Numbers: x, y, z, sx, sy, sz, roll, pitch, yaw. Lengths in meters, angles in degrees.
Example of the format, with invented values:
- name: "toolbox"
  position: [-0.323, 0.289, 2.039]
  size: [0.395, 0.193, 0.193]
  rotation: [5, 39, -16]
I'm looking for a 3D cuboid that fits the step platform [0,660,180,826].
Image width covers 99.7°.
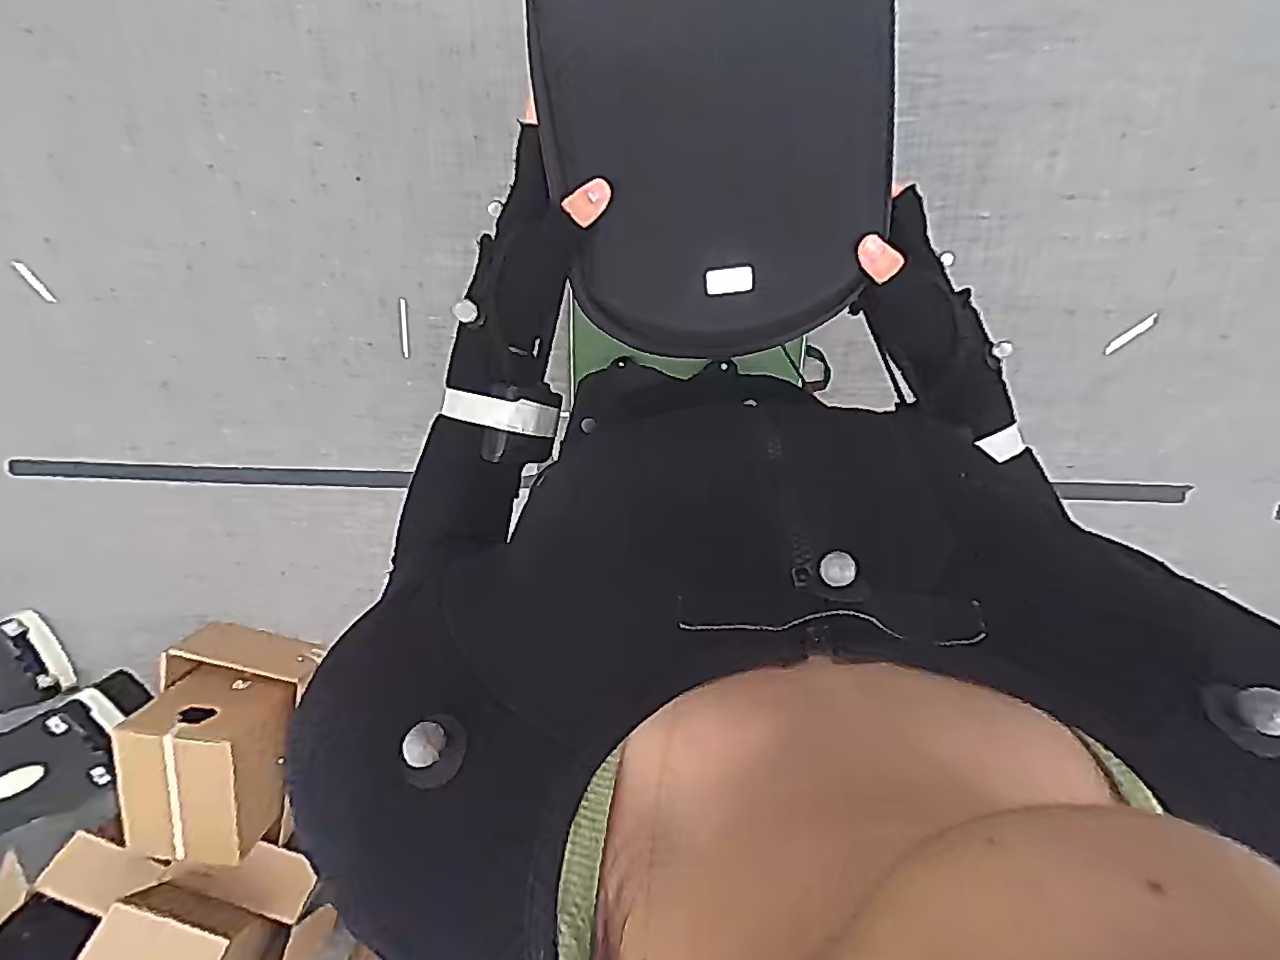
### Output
- name: "step platform"
  position: [-1.876, 0.854, 1.732]
  size: [0.684, 0.204, 0.286]
  rotation: [-27, 102, 8]
